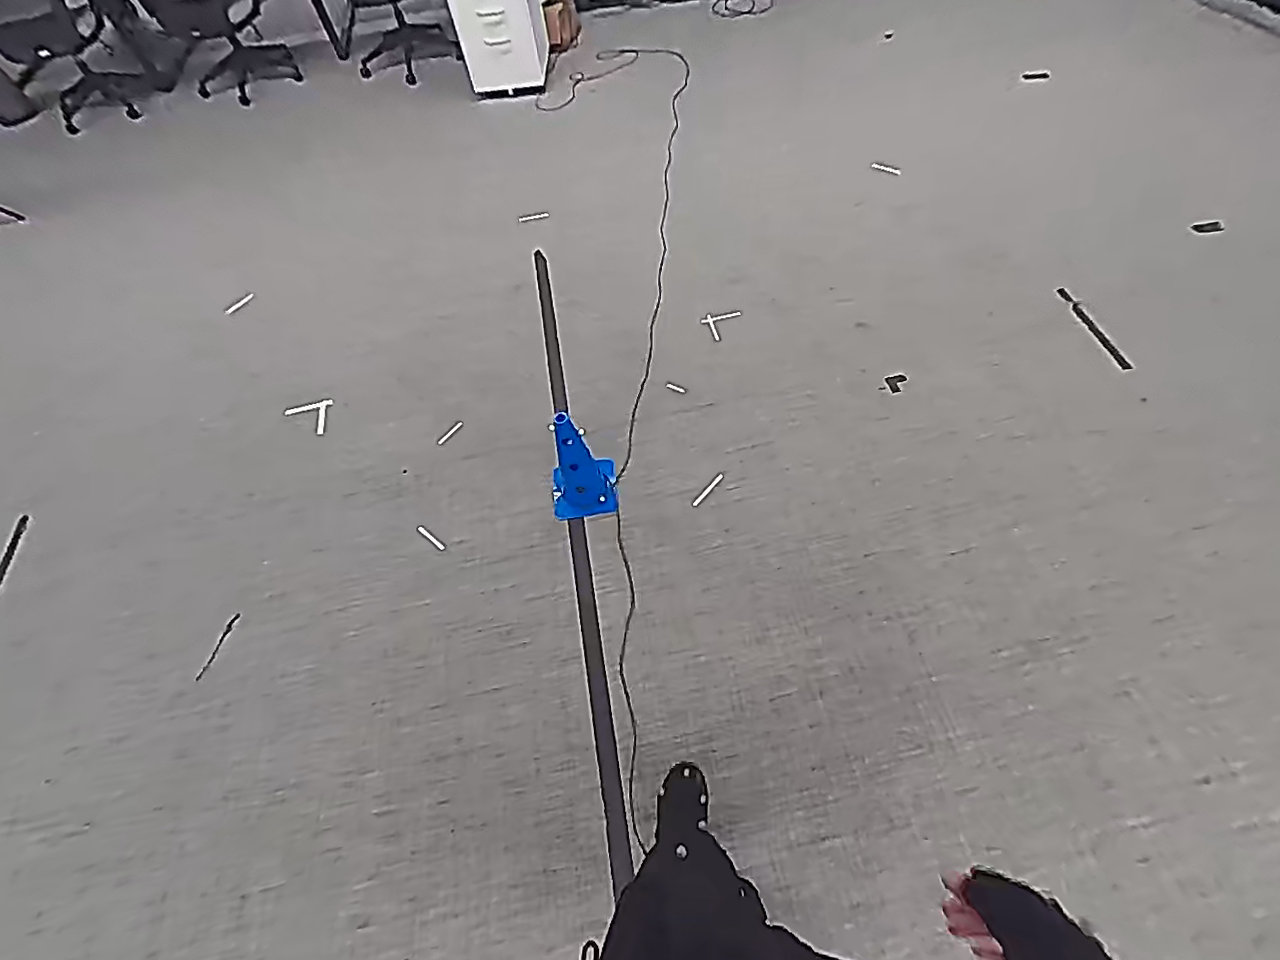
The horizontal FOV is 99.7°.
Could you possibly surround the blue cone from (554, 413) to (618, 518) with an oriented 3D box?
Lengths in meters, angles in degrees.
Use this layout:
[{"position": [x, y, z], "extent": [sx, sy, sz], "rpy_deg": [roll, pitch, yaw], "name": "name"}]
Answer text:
[{"position": [-0.183, -0.066, 1.532], "extent": [0.193, 0.380, 0.192], "rpy_deg": [-9, 57, 0], "name": "blue cone"}]
